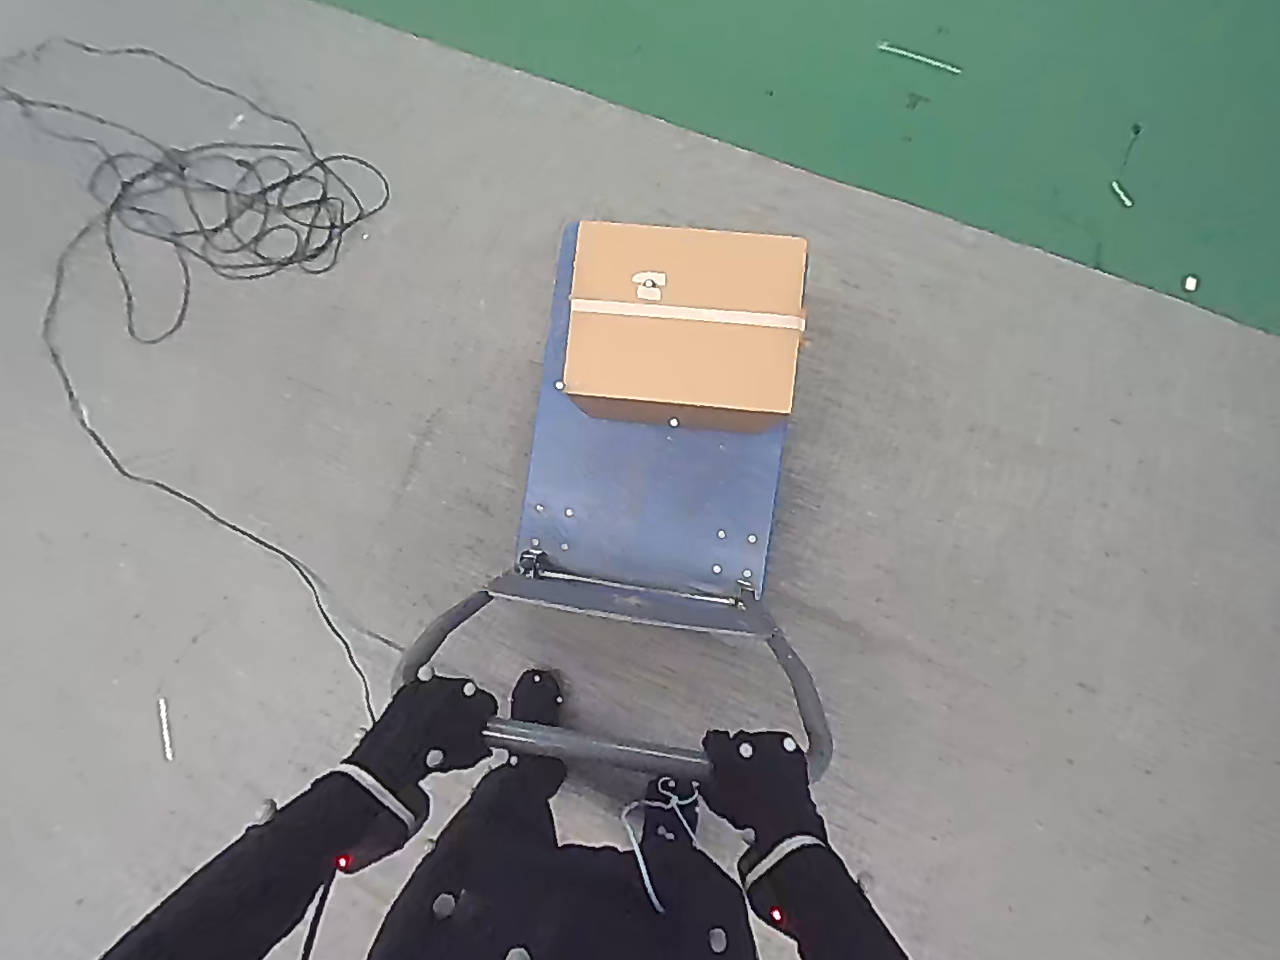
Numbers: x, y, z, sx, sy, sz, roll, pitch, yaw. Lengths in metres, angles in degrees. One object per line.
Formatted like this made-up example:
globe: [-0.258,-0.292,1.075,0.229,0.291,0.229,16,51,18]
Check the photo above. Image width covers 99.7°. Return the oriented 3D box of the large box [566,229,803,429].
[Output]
large box: [0.088,-0.280,1.095,0.408,0.320,0.320,5,89,4]
